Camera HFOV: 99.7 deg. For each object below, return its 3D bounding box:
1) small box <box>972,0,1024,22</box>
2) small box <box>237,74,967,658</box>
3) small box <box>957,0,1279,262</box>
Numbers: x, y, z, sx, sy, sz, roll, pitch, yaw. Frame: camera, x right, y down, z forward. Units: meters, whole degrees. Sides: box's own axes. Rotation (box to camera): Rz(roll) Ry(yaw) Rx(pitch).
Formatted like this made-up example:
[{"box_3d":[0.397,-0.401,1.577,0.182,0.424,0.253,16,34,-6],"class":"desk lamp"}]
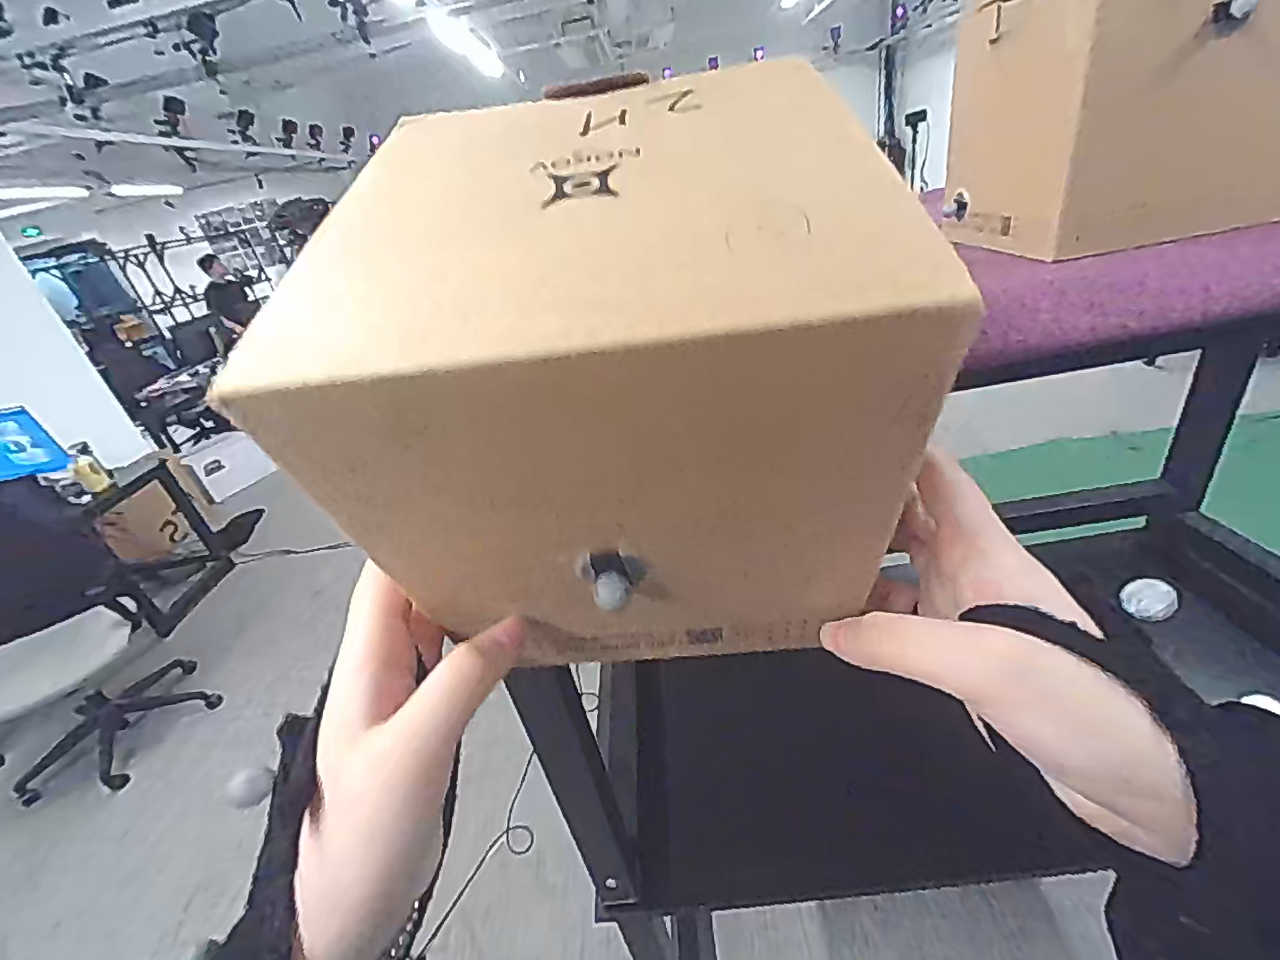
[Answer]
[{"box_3d":[0.322,-0.405,0.317,0.179,0.176,0.168,-5,29,15],"class":"small box"},{"box_3d":[-0.003,-0.035,0.229,0.168,0.176,0.179,-5,50,5],"class":"small box"},{"box_3d":[0.356,-0.267,0.395,0.179,0.176,0.168,-8,29,6],"class":"small box"}]
